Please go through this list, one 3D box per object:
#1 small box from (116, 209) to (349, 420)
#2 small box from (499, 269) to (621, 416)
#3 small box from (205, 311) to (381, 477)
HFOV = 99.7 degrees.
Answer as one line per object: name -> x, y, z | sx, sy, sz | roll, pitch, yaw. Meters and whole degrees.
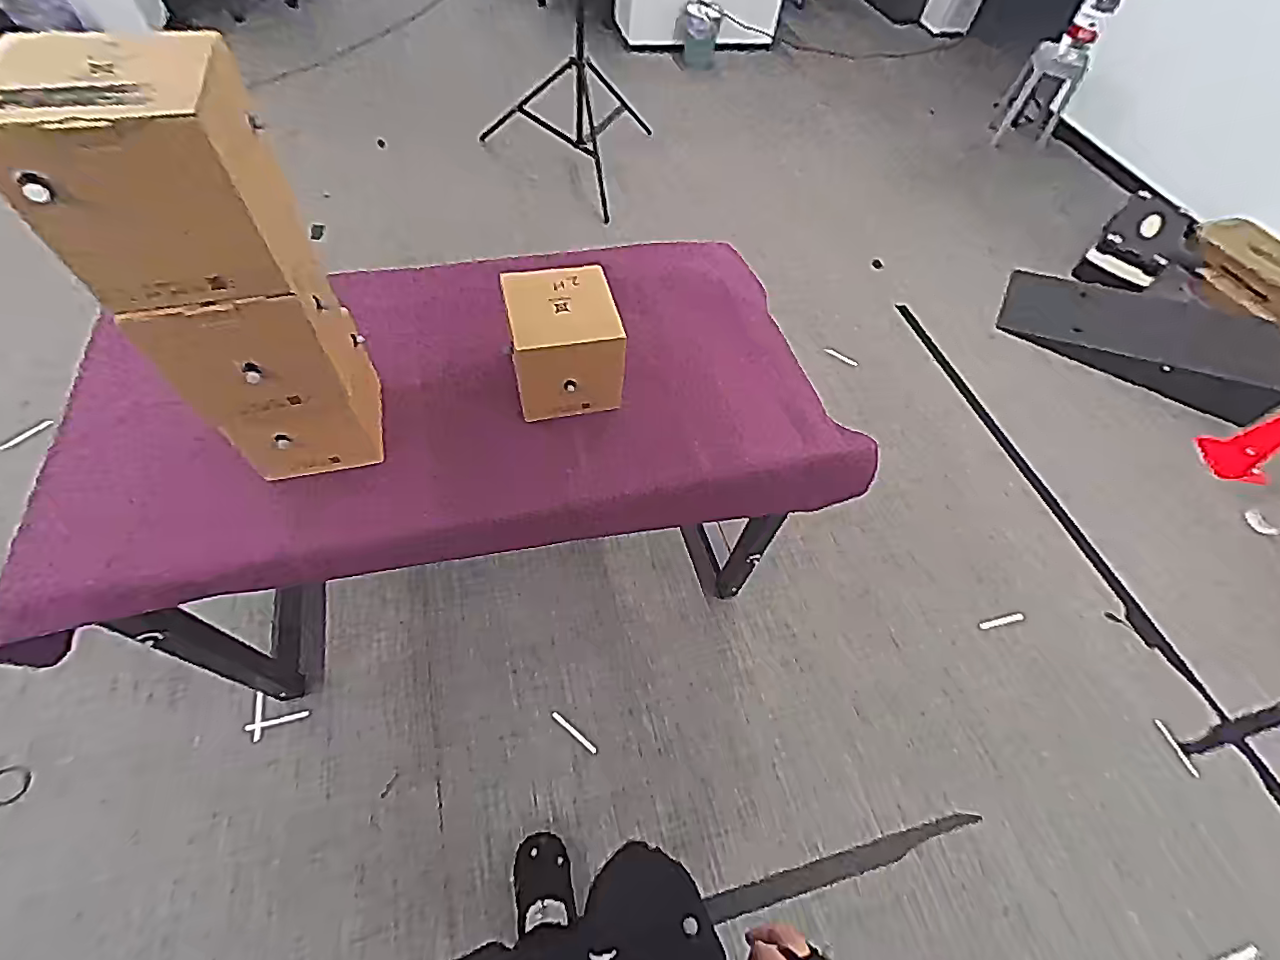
small box -> -0.471, -0.190, 0.652 | 0.168, 0.176, 0.179 | -15, 60, -15
small box -> -0.132, -0.221, 0.901 | 0.168, 0.176, 0.179 | -10, 59, -13
small box -> -0.495, -0.119, 0.799 | 0.168, 0.176, 0.179 | -11, 59, -13
